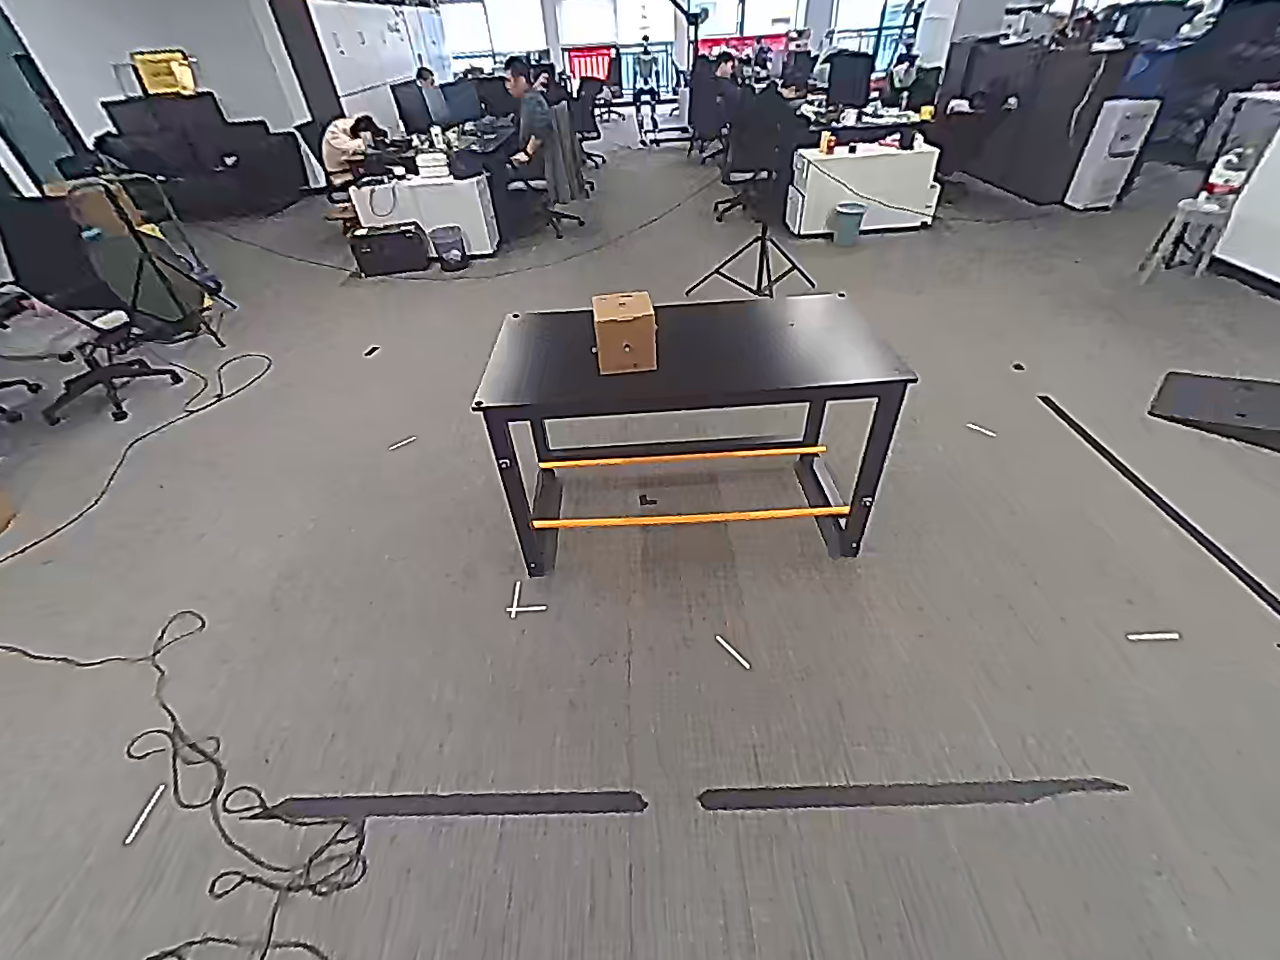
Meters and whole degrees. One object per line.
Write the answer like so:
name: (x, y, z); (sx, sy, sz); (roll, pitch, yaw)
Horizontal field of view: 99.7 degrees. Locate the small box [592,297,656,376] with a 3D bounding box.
small box: (-0.046, -0.415, 1.588); (0.168, 0.176, 0.179); (-7, 40, -2)
